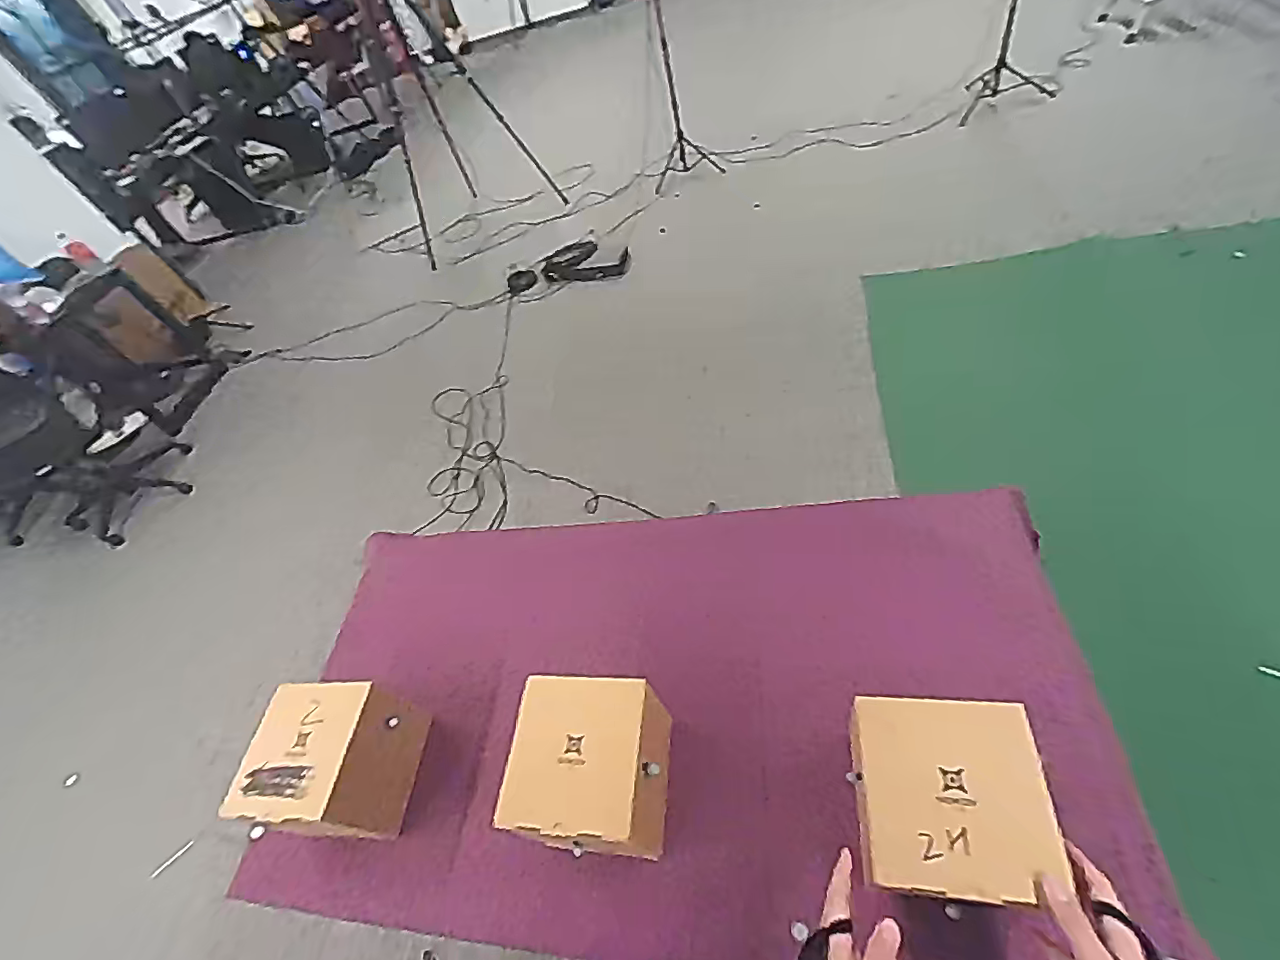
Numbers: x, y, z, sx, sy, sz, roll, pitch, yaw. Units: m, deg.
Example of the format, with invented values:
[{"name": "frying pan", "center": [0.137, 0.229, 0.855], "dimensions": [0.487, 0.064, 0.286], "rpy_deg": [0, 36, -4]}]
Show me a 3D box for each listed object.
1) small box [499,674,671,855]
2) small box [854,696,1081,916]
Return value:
[{"name": "small box", "center": [-0.057, 0.374, 0.713], "dimensions": [0.168, 0.176, 0.179], "rpy_deg": [-3, 52, 15]}, {"name": "small box", "center": [0.334, 0.357, 0.597], "dimensions": [0.168, 0.176, 0.179], "rpy_deg": [-3, 53, 17]}]
